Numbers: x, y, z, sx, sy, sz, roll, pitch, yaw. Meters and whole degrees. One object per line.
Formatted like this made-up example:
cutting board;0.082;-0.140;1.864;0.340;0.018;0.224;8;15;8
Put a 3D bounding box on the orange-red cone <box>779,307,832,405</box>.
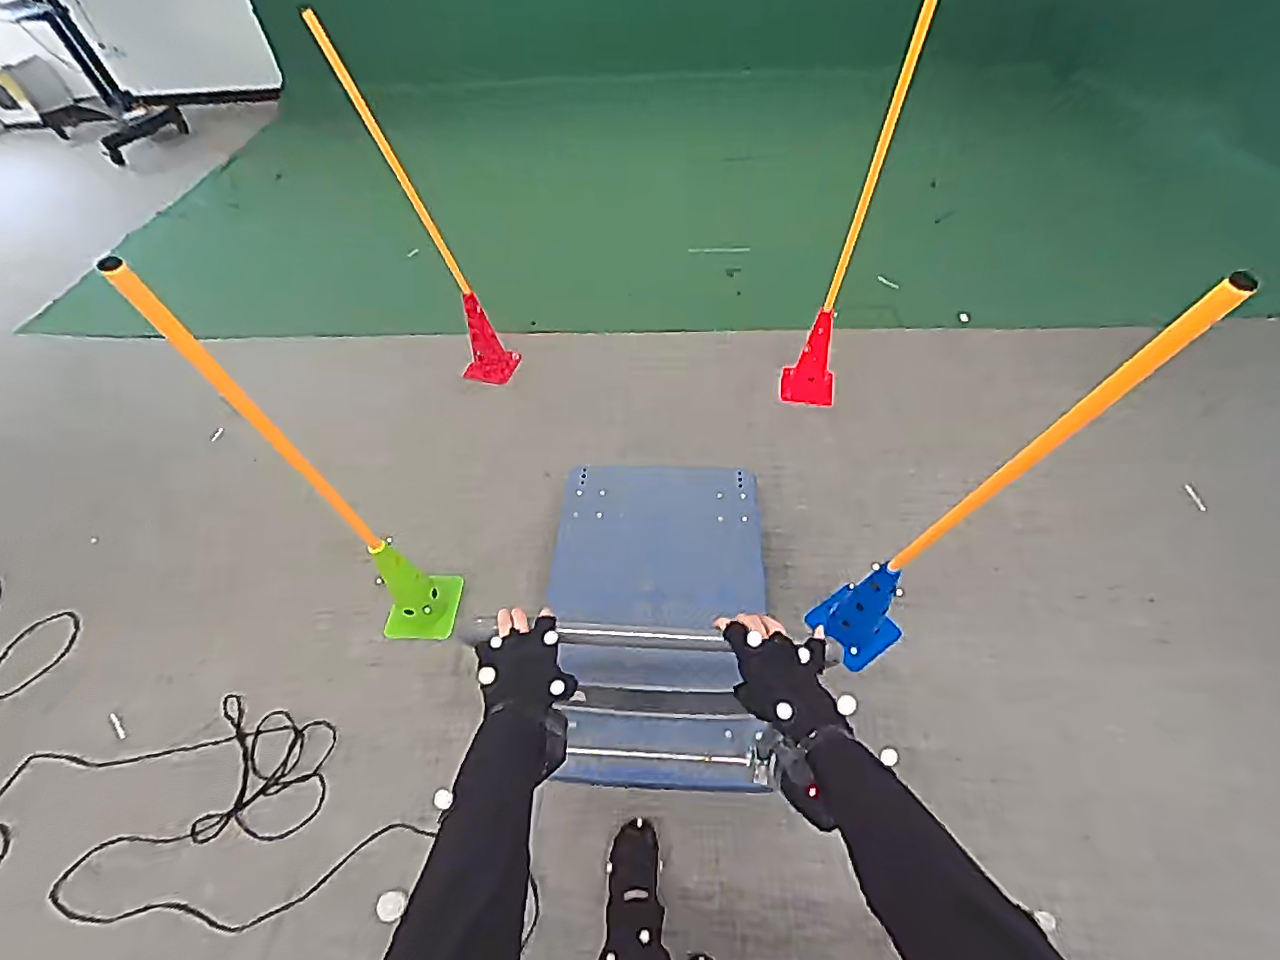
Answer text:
orange-red cone;0.642;-0.473;1.985;0.198;0.360;0.199;9;54;11
